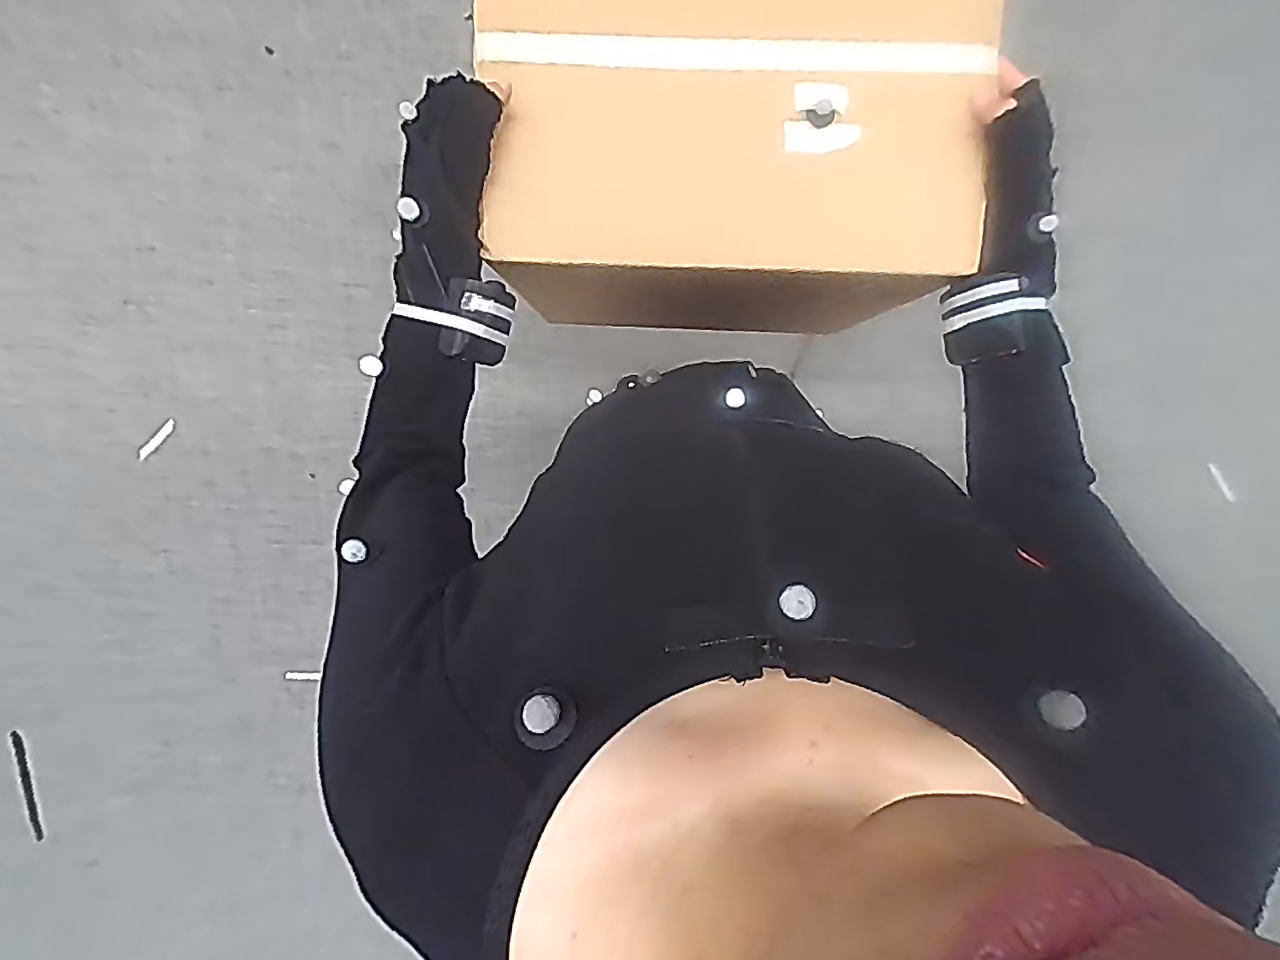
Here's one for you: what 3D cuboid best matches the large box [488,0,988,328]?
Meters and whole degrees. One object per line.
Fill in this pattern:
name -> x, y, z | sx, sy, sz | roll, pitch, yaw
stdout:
large box -> 0.074, -0.349, 0.583 | 0.408, 0.320, 0.320 | 2, 96, 0
